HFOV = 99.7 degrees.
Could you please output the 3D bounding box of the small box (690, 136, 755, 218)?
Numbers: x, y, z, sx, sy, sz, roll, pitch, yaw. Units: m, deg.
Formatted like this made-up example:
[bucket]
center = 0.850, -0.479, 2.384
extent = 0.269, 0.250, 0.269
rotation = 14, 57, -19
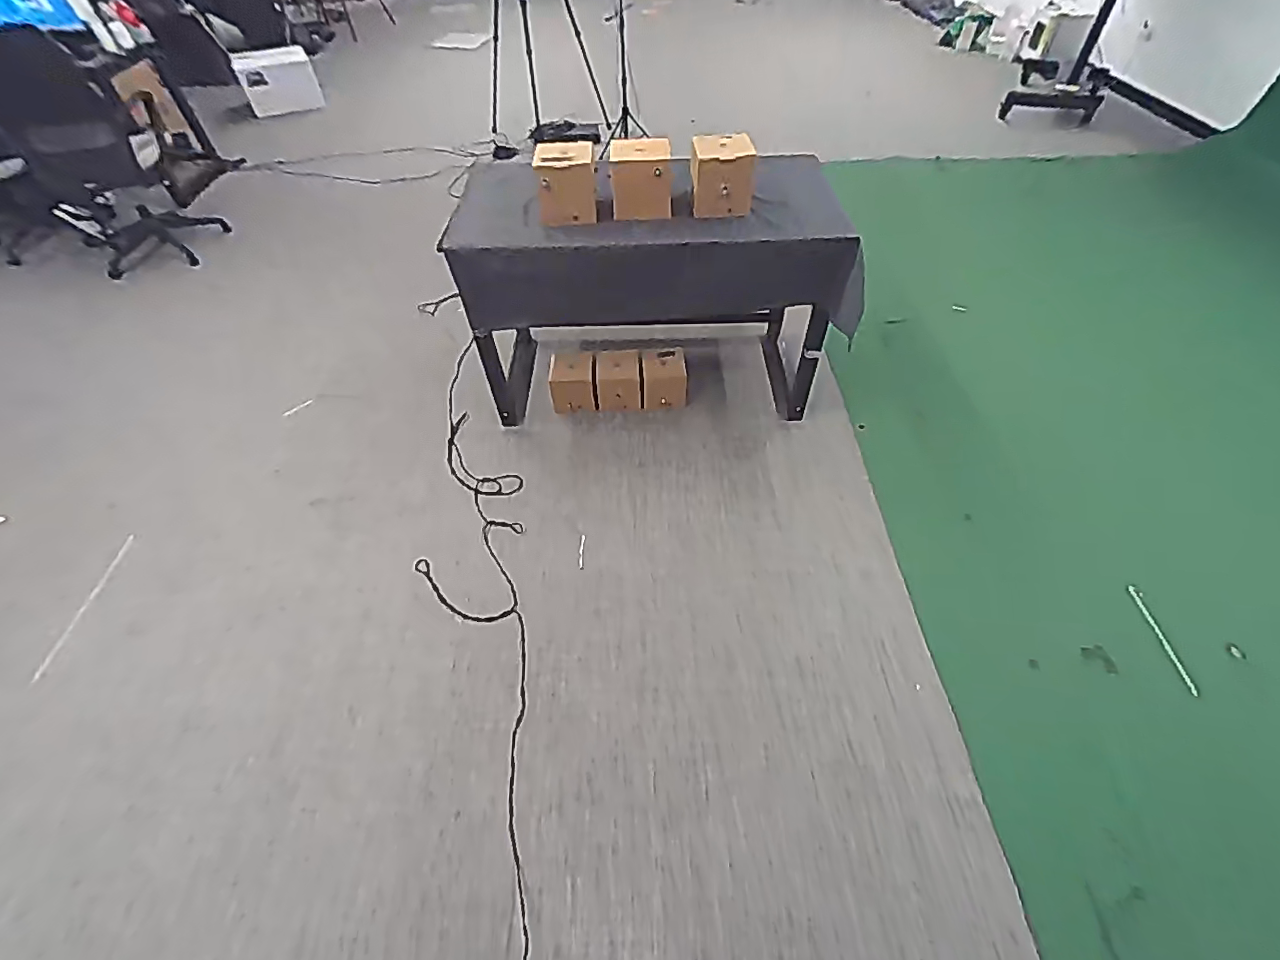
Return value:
[small box]
center = 0.240, -0.901, 1.614
extent = 0.168, 0.176, 0.179
rotation = -2, 51, -1
